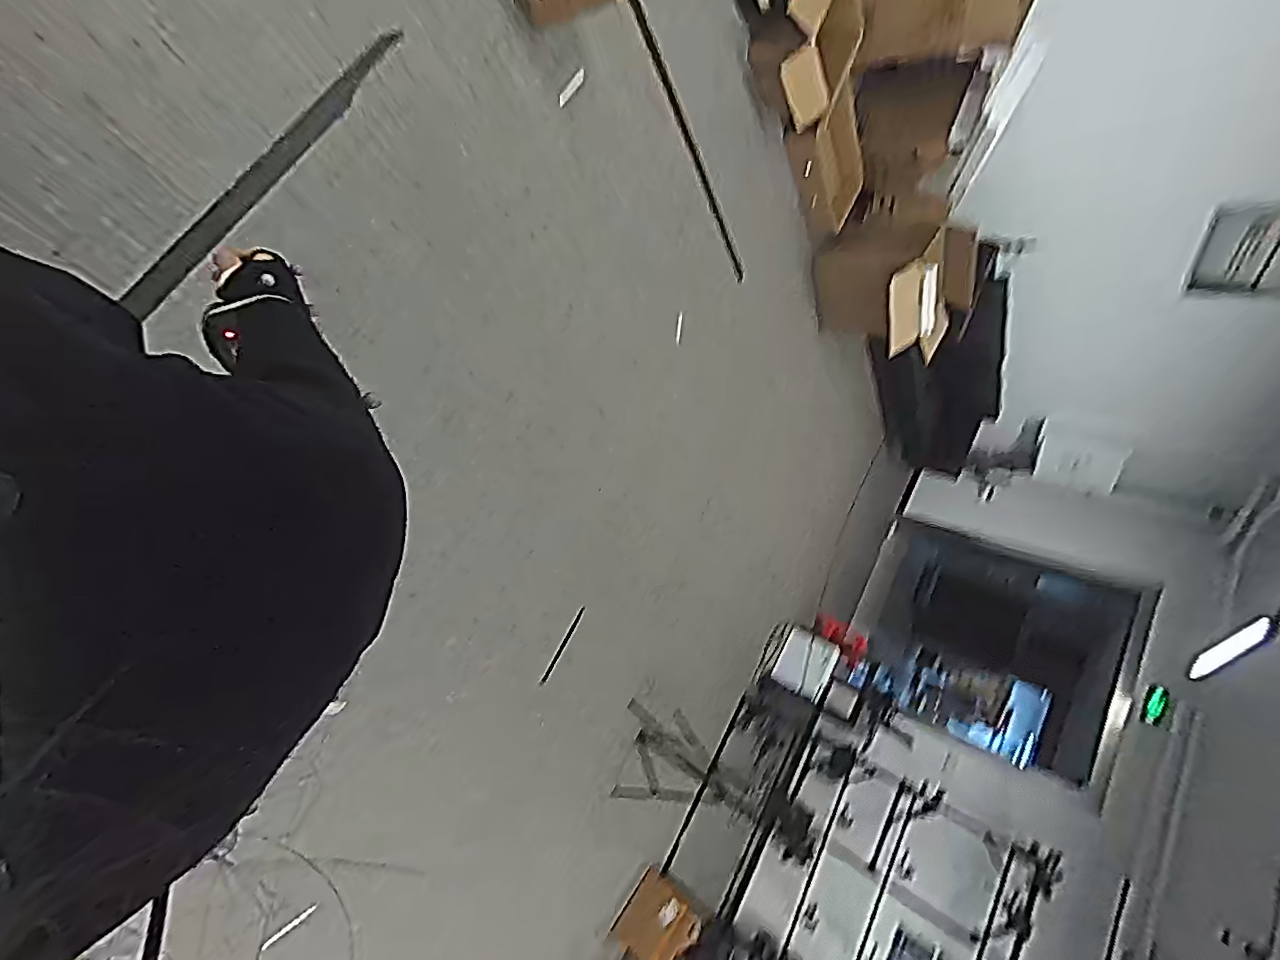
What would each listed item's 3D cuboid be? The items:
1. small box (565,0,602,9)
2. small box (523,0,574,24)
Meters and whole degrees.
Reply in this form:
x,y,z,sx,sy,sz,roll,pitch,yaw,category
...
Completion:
x,y,z,sx,sy,sz,roll,pitch,yaw,category
-0.120,-1.363,1.383,0.179,0.176,0.168,-59,141,-15,small box
-0.241,-1.411,1.487,0.179,0.176,0.168,-60,142,-13,small box
